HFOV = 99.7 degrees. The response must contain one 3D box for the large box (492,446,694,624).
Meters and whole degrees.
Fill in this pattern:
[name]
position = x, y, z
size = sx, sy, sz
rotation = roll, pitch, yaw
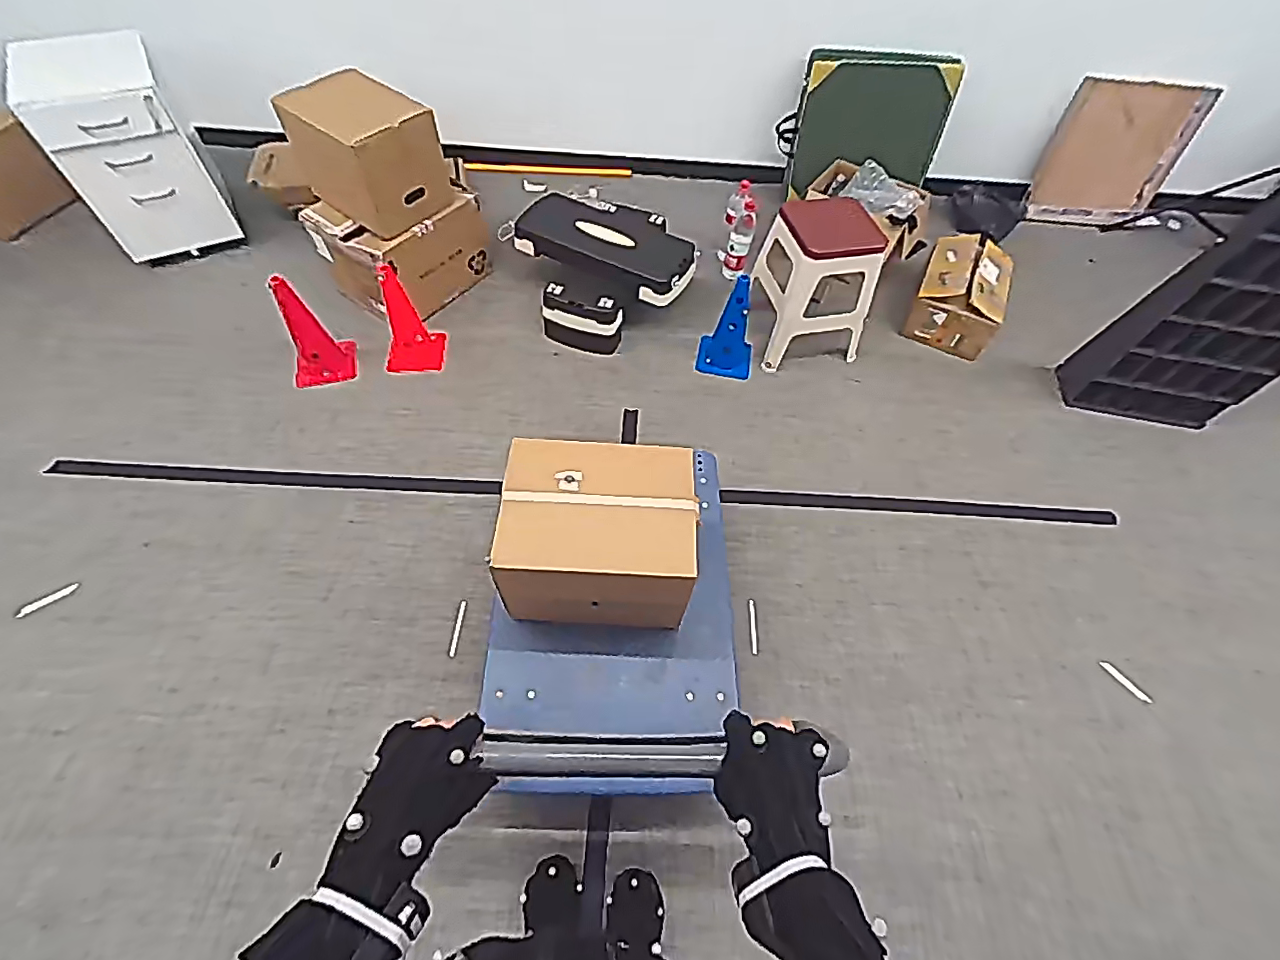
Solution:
[large box]
position = -0.092, 0.137, 1.262
size = 0.408, 0.320, 0.320
rotation = 3, 57, -1
